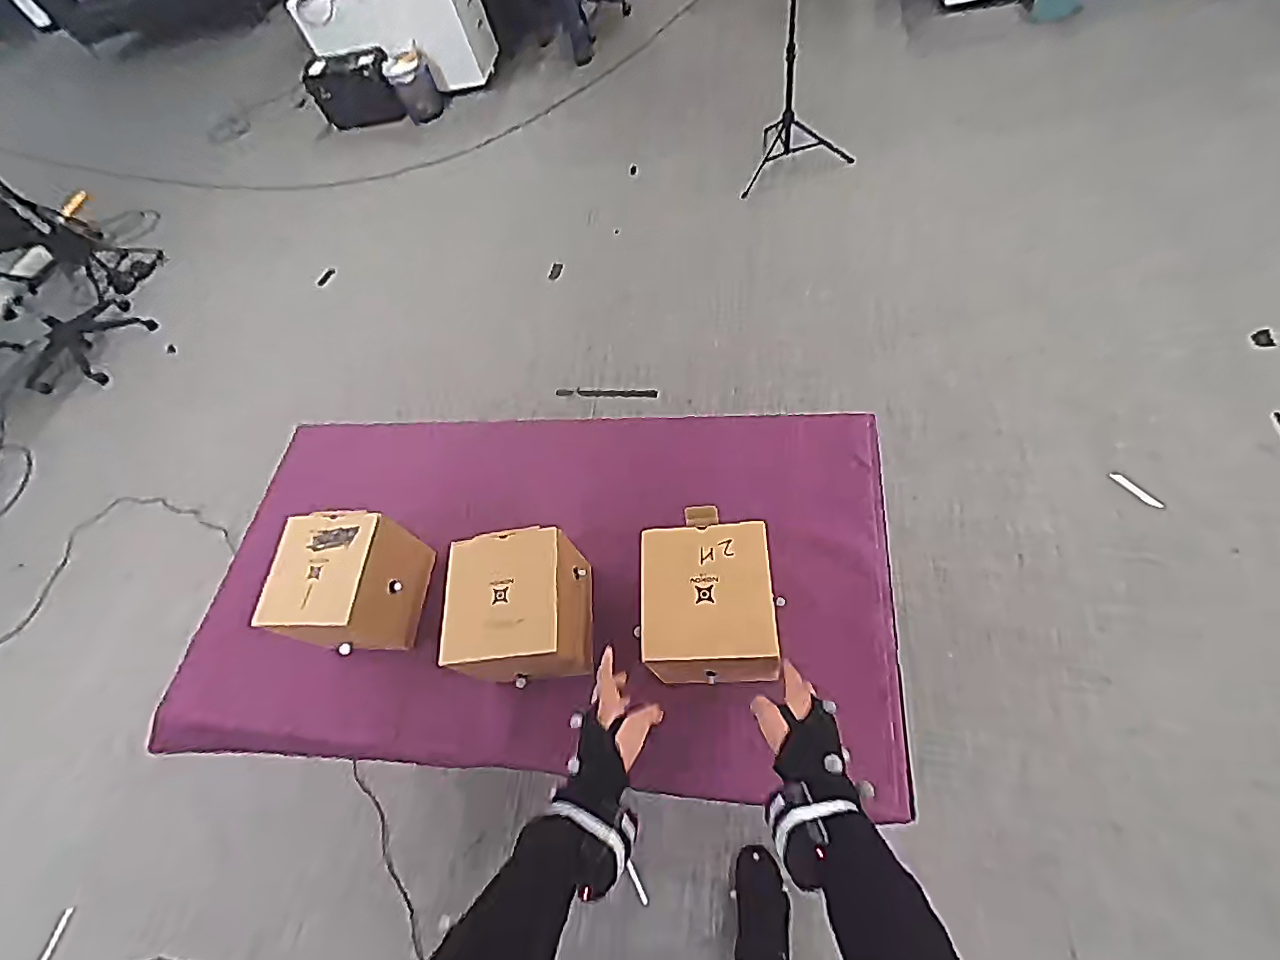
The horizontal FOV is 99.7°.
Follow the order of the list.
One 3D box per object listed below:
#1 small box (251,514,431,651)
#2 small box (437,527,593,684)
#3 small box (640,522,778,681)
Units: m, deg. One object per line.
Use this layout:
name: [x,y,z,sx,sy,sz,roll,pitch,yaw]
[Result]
small box: [-0.467,0.170,0.878,0.168,0.176,0.179,-3,61,12]
small box: [-0.171,0.190,0.798,0.168,0.176,0.179,-9,60,9]
small box: [0.098,0.175,0.741,0.168,0.176,0.179,-5,60,10]
